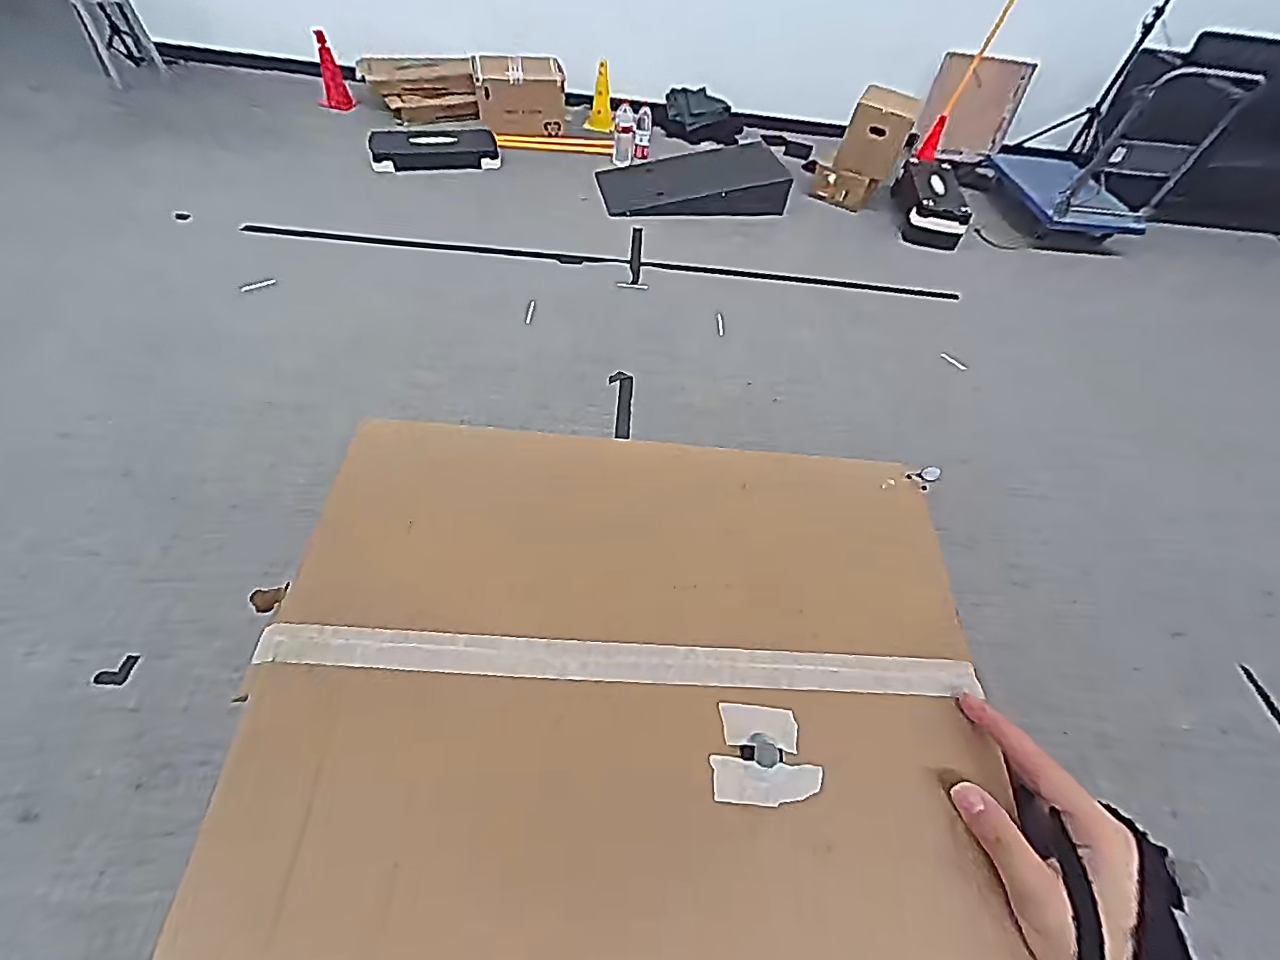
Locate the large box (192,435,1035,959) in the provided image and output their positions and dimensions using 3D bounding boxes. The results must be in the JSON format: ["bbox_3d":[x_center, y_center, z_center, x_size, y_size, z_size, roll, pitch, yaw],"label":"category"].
[{"bbox_3d":[-0.015,0.188,0.449,0.408,0.320,0.320,5,59,-5],"label":"large box"}]
